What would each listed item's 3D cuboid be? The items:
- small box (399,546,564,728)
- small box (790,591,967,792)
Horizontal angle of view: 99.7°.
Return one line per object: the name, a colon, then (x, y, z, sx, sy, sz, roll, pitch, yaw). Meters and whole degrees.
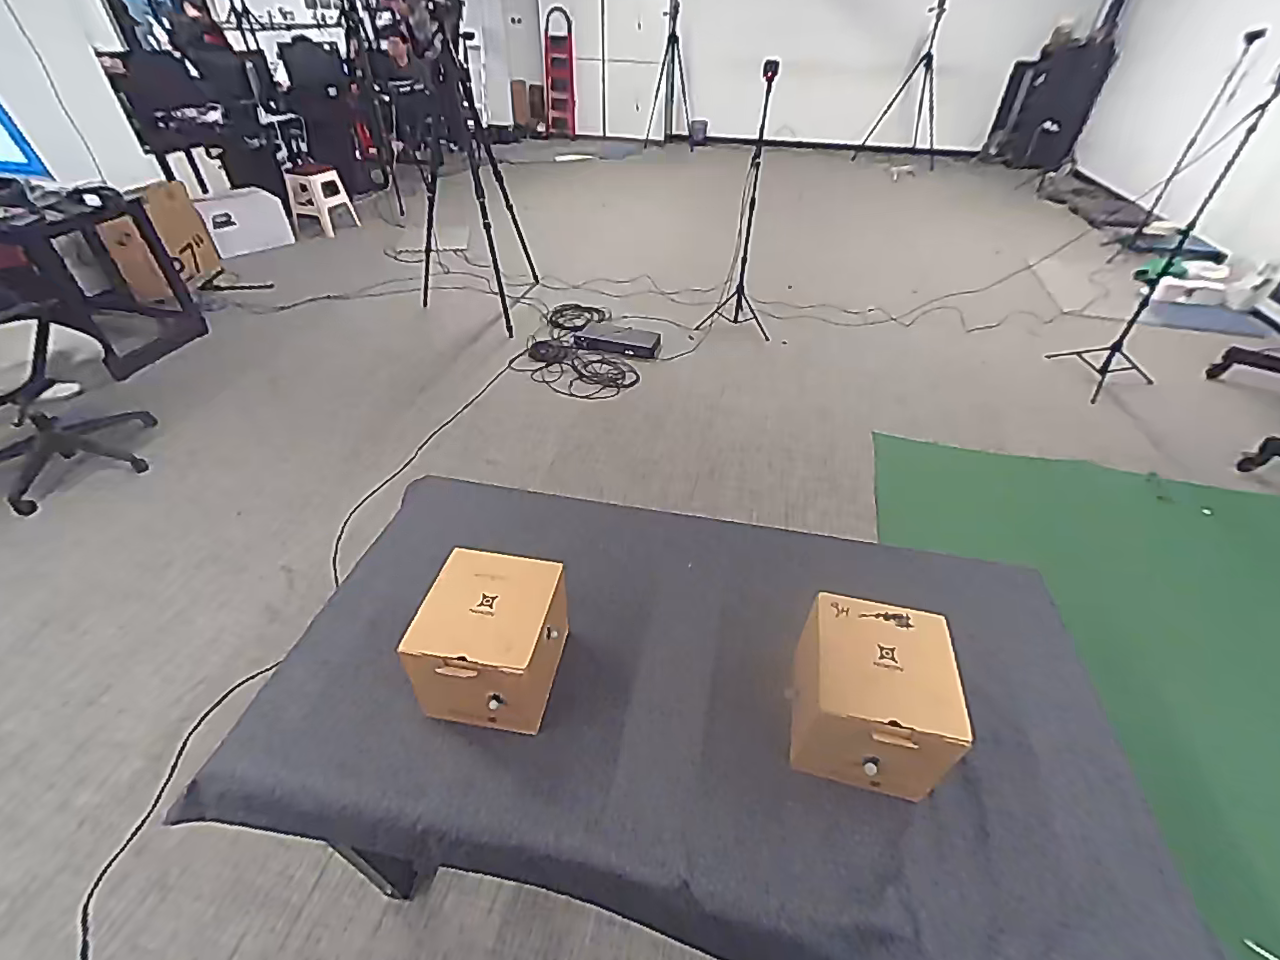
small box: (-0.206, 0.223, 0.767, 0.168, 0.176, 0.179, 8, 40, 4)
small box: (0.300, 0.281, 0.718, 0.168, 0.176, 0.179, 10, 42, 10)
